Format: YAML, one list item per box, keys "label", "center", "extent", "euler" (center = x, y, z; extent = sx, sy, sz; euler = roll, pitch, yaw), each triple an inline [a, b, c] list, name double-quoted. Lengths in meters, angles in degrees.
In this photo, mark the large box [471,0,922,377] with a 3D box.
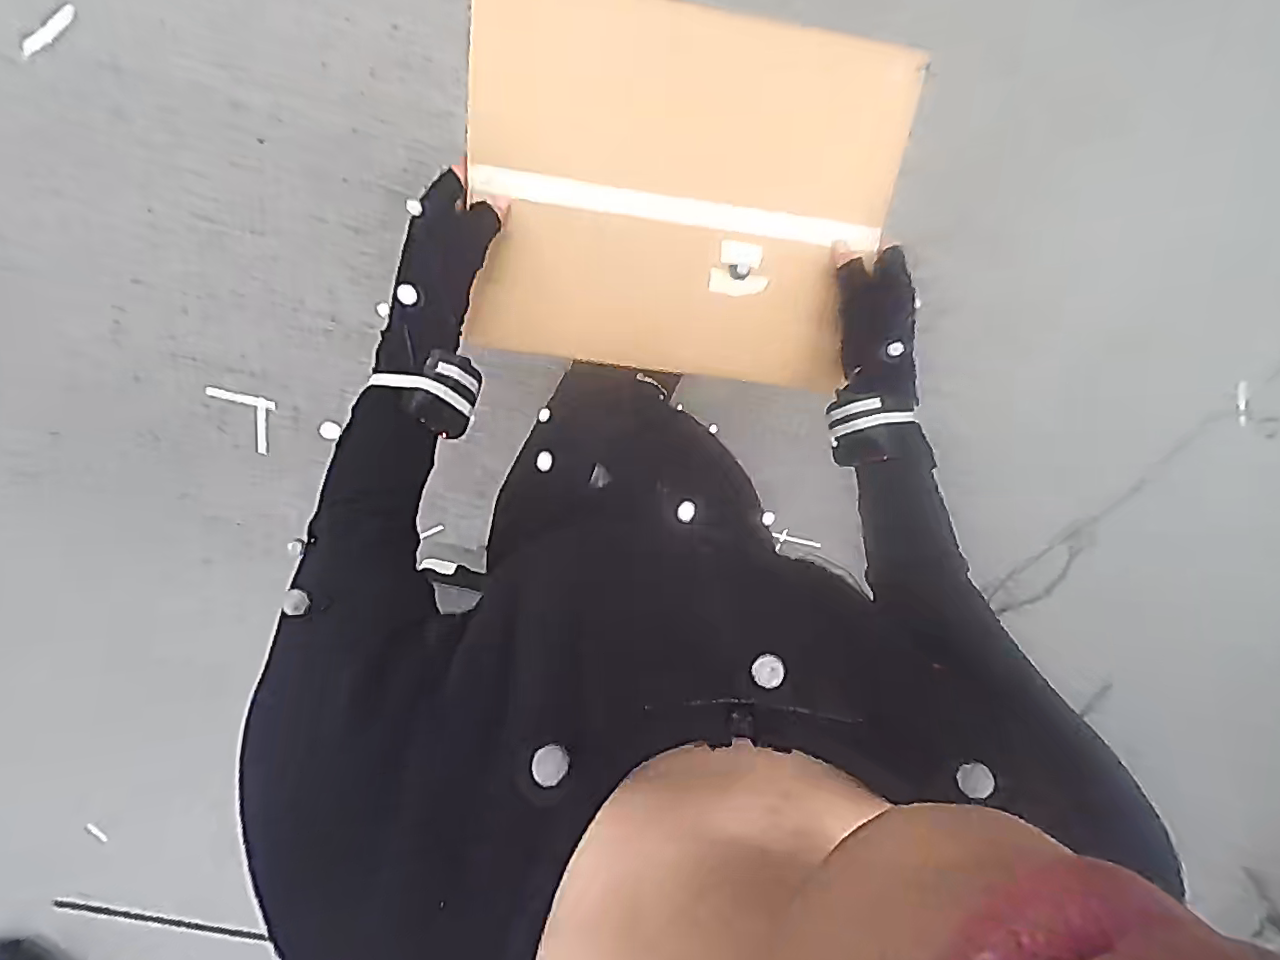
- label: "large box"
  center: [0.030, -0.324, 0.656]
  extent: [0.408, 0.320, 0.320]
  euler: [5, 113, -6]
